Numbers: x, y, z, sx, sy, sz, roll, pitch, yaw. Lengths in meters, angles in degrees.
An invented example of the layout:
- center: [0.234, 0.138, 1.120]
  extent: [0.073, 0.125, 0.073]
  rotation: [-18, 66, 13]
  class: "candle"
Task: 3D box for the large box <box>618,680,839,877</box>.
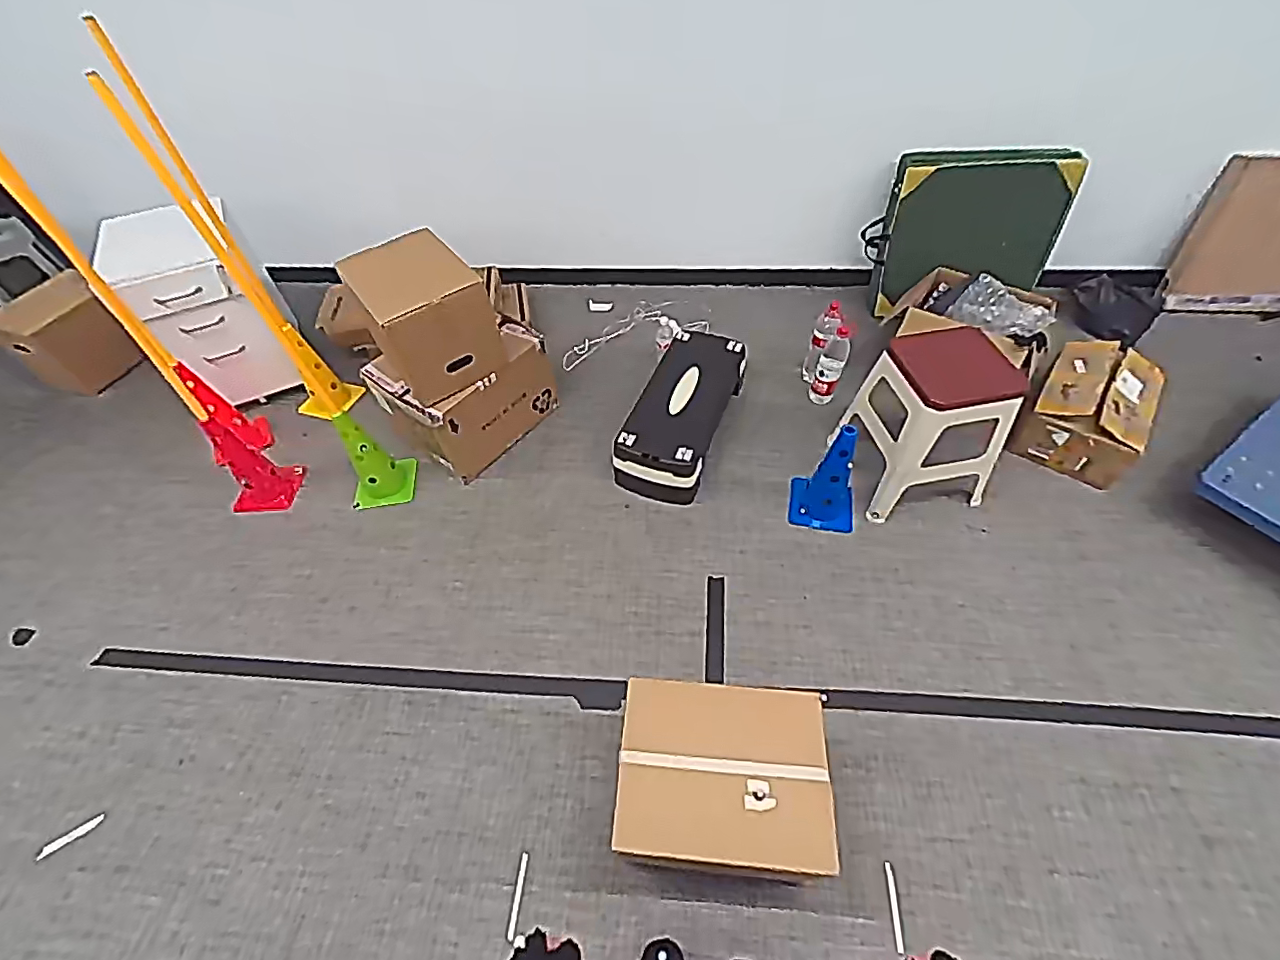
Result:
- center: [0.168, 0.651, 1.173]
  extent: [0.408, 0.320, 0.320]
  rotation: [3, 53, 4]
  class: "large box"
